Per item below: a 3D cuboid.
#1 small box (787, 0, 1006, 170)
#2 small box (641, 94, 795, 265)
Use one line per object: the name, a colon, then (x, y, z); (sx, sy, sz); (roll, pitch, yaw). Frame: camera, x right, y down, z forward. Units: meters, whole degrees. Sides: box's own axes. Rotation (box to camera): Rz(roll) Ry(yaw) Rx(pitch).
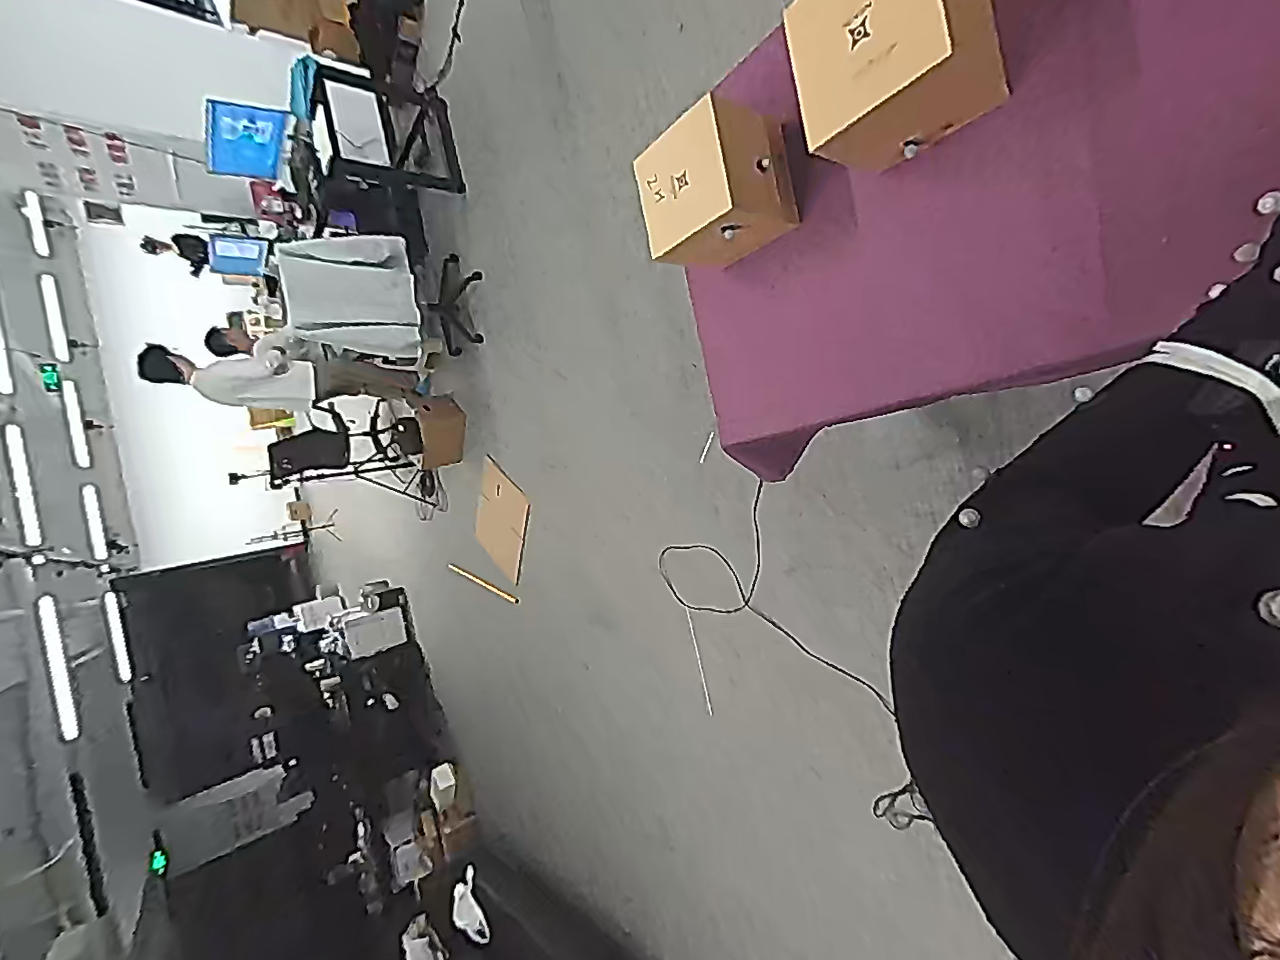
small box: (0.305, -0.509, 0.645); (0.168, 0.176, 0.179); (-10, 91, 52)
small box: (0.131, -0.465, 0.870); (0.179, 0.176, 0.168); (-10, 90, 52)
